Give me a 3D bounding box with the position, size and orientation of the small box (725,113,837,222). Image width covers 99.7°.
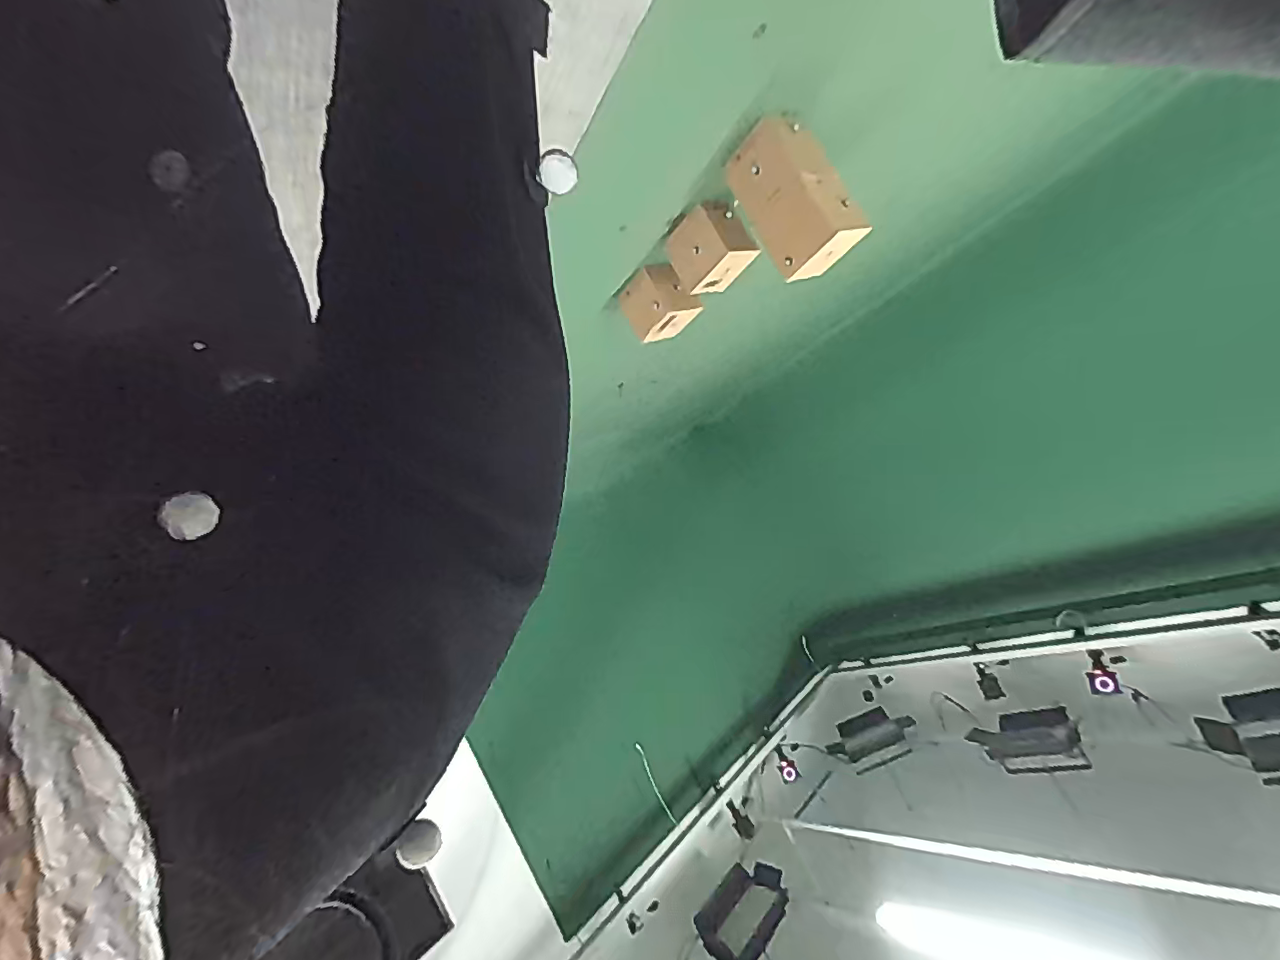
[{"bbox_3d":[0.341,-0.765,1.334,0.179,0.176,0.168,-23,173,-38],"label":"small box"}]

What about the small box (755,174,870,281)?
[{"bbox_3d":[0.416,-0.620,1.323,0.168,0.176,0.179,-25,174,-37],"label":"small box"}]
